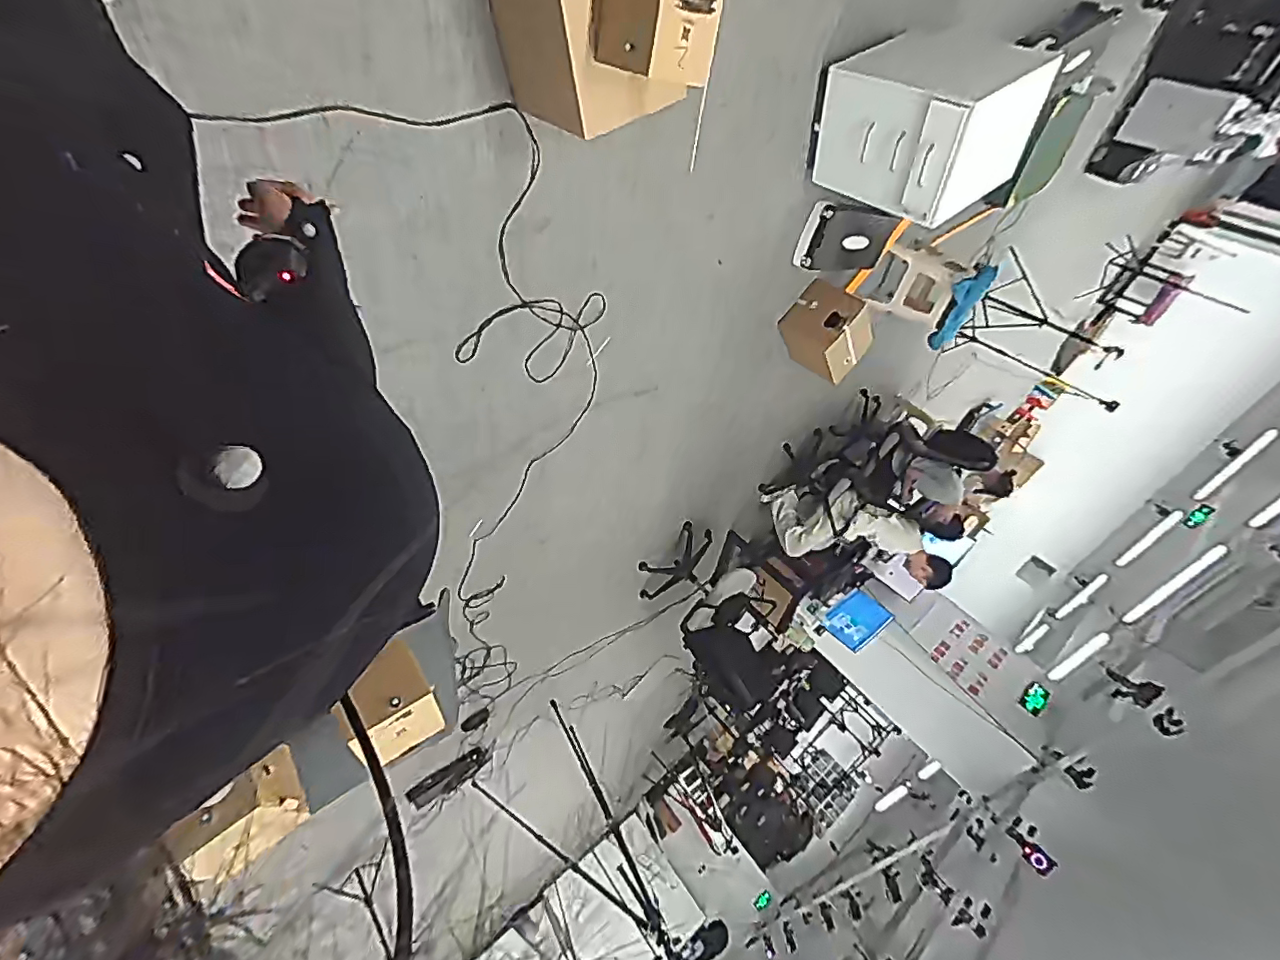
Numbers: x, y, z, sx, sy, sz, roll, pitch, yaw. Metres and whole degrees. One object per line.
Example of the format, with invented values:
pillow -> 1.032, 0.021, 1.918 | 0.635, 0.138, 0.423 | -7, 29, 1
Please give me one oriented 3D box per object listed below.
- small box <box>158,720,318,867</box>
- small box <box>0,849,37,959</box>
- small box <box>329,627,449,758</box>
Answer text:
small box -> -0.769, 0.597, 1.038 | 0.179, 0.176, 0.168 | -34, 147, -19
small box -> -1.047, 0.710, 0.817 | 0.168, 0.176, 0.179 | -12, 135, -46
small box -> -0.533, 0.449, 1.157 | 0.168, 0.176, 0.179 | -28, 145, -29
